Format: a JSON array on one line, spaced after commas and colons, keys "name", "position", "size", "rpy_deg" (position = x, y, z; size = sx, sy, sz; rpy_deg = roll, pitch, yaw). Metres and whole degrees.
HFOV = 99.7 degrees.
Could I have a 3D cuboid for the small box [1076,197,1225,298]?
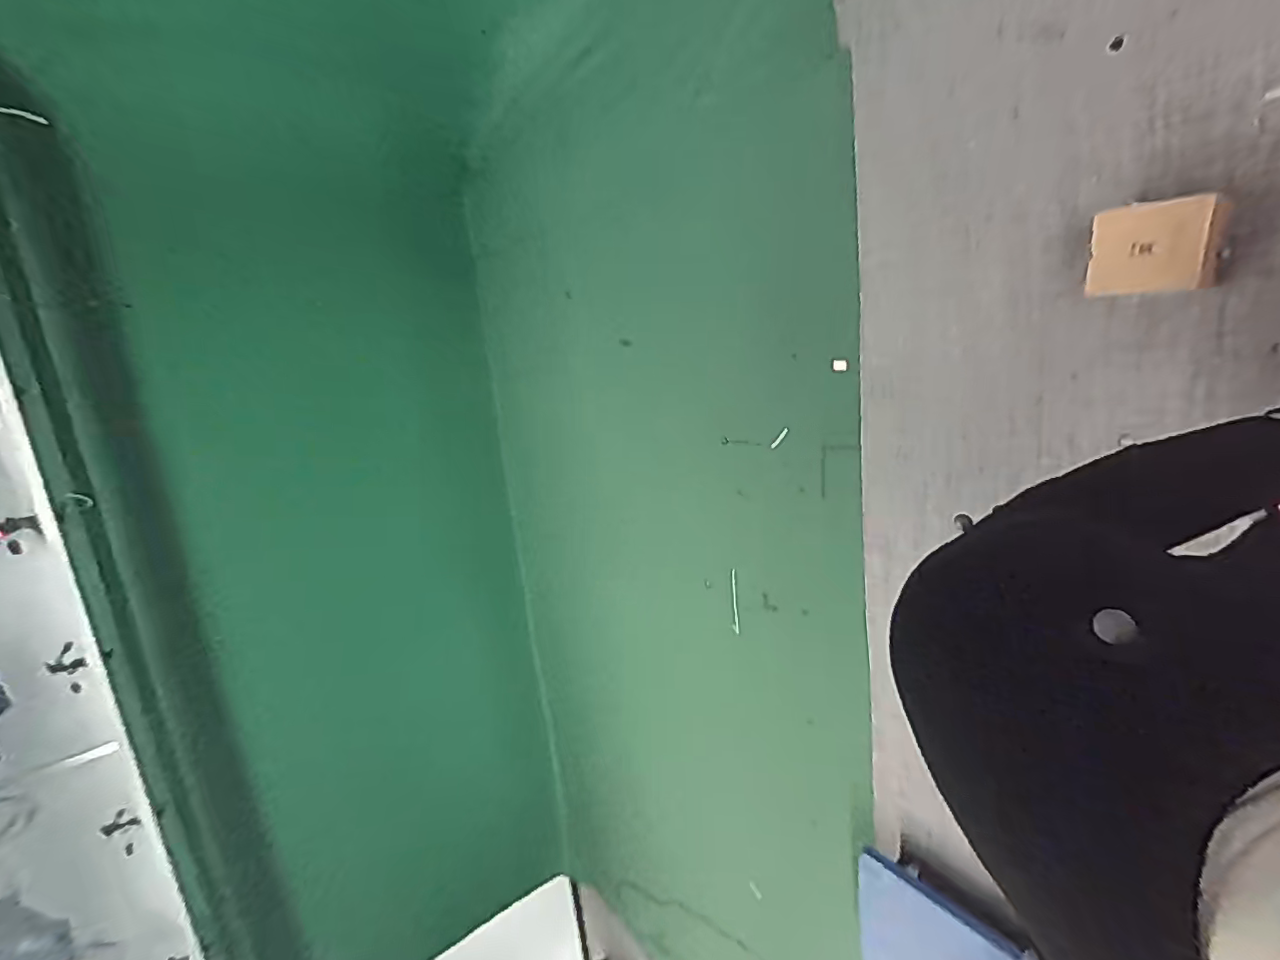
[{"name": "small box", "position": [1.033, -0.461, 1.098], "size": [0.179, 0.176, 0.168], "rpy_deg": [17, 116, 51]}]
